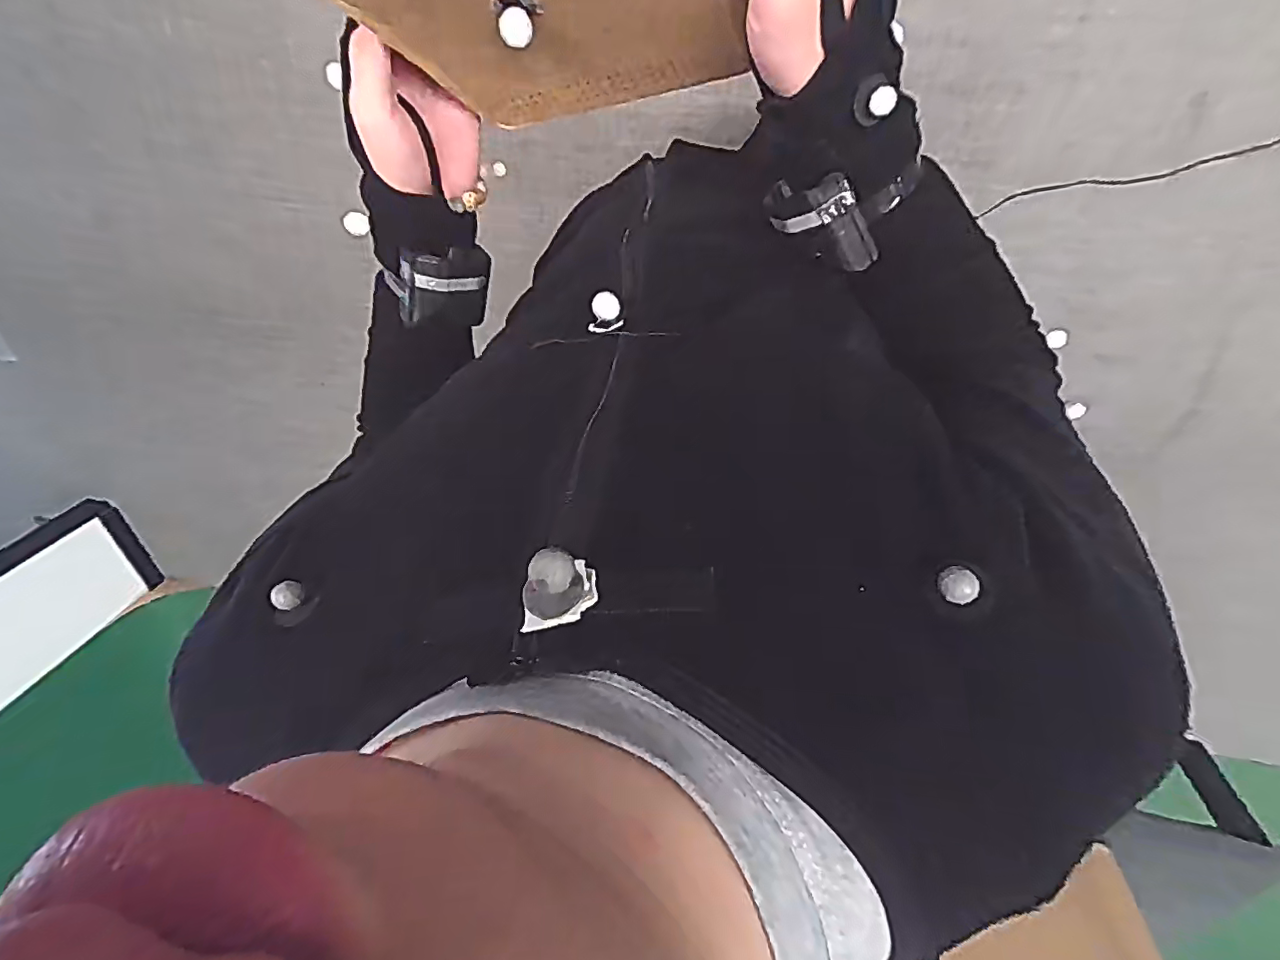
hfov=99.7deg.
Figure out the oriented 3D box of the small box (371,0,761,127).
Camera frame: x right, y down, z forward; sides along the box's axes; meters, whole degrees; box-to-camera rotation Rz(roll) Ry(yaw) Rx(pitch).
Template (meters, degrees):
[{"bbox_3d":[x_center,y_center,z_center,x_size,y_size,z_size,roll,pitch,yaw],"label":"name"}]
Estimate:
[{"bbox_3d":[-0.041,-0.300,0.252,0.179,0.176,0.168,1,97,18],"label":"small box"}]
